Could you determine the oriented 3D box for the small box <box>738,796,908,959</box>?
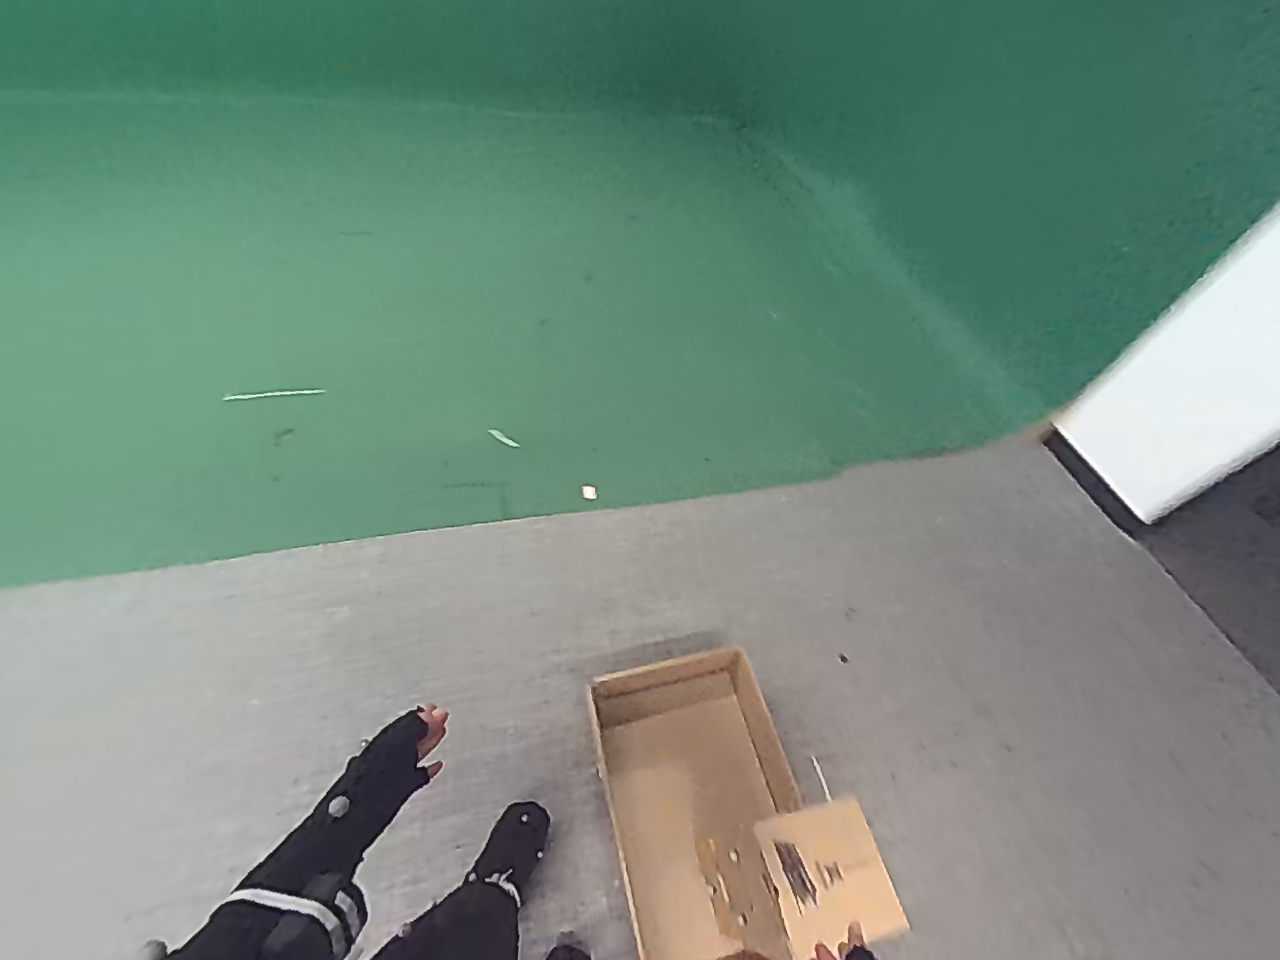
[{"bbox_3d":[0.264,0.612,0.837,0.179,0.176,0.168,-7,55,-13],"label":"small box"}]

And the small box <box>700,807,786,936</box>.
[{"bbox_3d":[0.233,0.801,1.105,0.179,0.176,0.168,-11,54,-16],"label":"small box"}]

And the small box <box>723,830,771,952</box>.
[{"bbox_3d":[0.257,0.701,0.954,0.179,0.176,0.168,-8,54,-13],"label":"small box"}]
